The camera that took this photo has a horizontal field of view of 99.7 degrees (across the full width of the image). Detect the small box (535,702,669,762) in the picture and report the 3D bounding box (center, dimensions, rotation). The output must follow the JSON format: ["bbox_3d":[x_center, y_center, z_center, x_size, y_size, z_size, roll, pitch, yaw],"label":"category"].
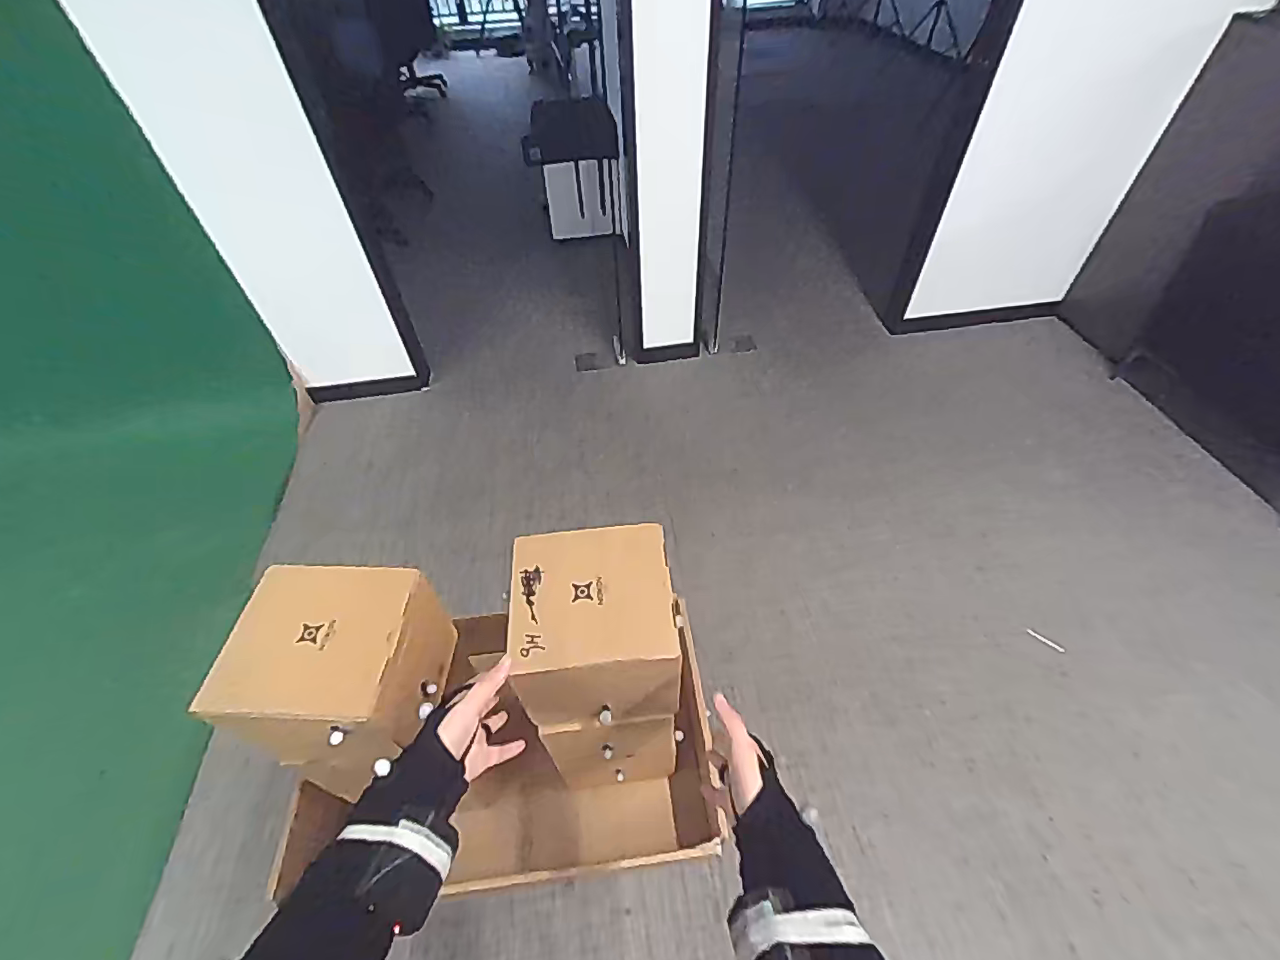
[{"bbox_3d":[-0.049,0.284,0.764,0.168,0.176,0.179,-5,49,-3],"label":"small box"}]

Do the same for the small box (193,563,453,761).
[{"bbox_3d":[-0.340,0.213,0.626,0.179,0.176,0.168,2,48,1],"label":"small box"}]

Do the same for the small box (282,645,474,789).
[{"bbox_3d":[-0.342,0.318,0.750,0.168,0.176,0.179,-1,48,0],"label":"small box"}]

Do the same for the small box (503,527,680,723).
[{"bbox_3d":[-0.052,0.174,0.641,0.179,0.176,0.168,-5,49,-2],"label":"small box"}]
